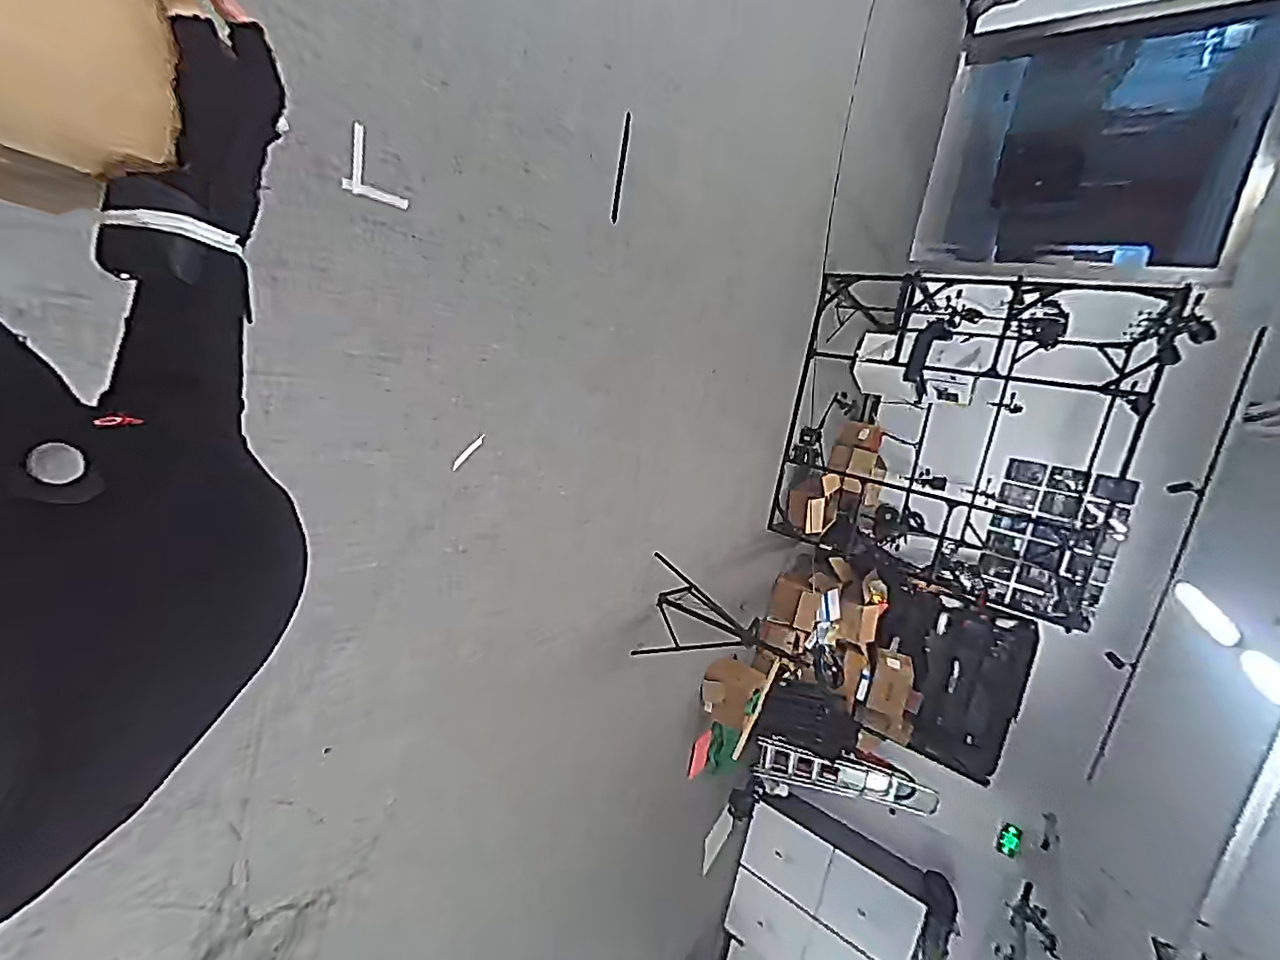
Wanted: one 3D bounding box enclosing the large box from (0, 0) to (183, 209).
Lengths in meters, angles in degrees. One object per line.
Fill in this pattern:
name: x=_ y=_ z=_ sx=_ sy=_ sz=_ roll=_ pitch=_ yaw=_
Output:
large box: x=-0.561 y=-0.390 z=0.300 sx=0.408 sy=0.320 sz=0.320 roll=-1 pitch=104 yaw=-59
